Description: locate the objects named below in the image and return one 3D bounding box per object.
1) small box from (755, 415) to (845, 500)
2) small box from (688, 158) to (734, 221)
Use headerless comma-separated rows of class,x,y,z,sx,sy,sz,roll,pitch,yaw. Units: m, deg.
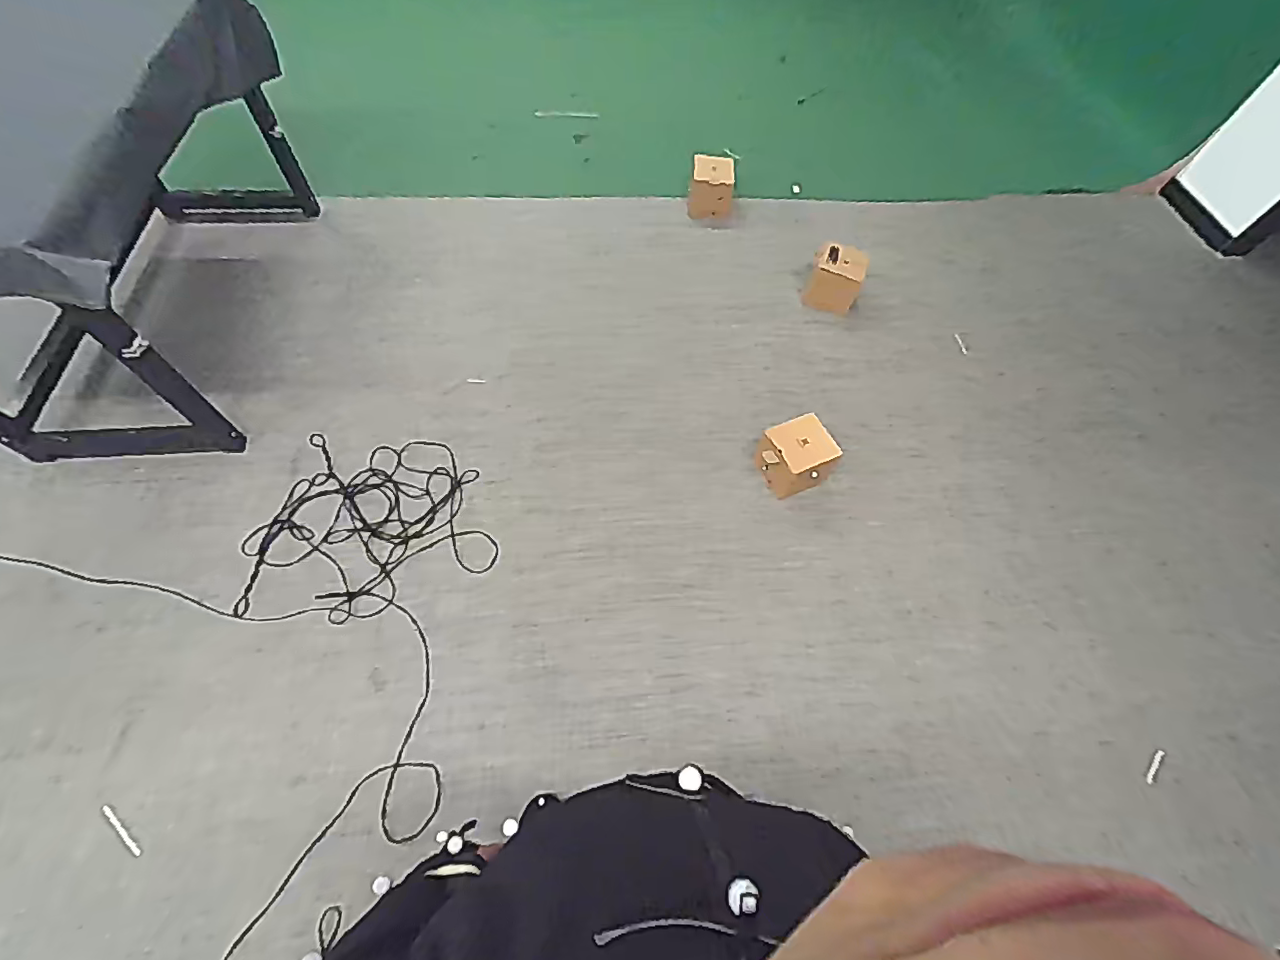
small box,0.477,-0.065,1.639,0.179,0.176,0.168,-21,64,-14
small box,0.299,-1.223,2.285,0.168,0.176,0.179,5,60,-3
